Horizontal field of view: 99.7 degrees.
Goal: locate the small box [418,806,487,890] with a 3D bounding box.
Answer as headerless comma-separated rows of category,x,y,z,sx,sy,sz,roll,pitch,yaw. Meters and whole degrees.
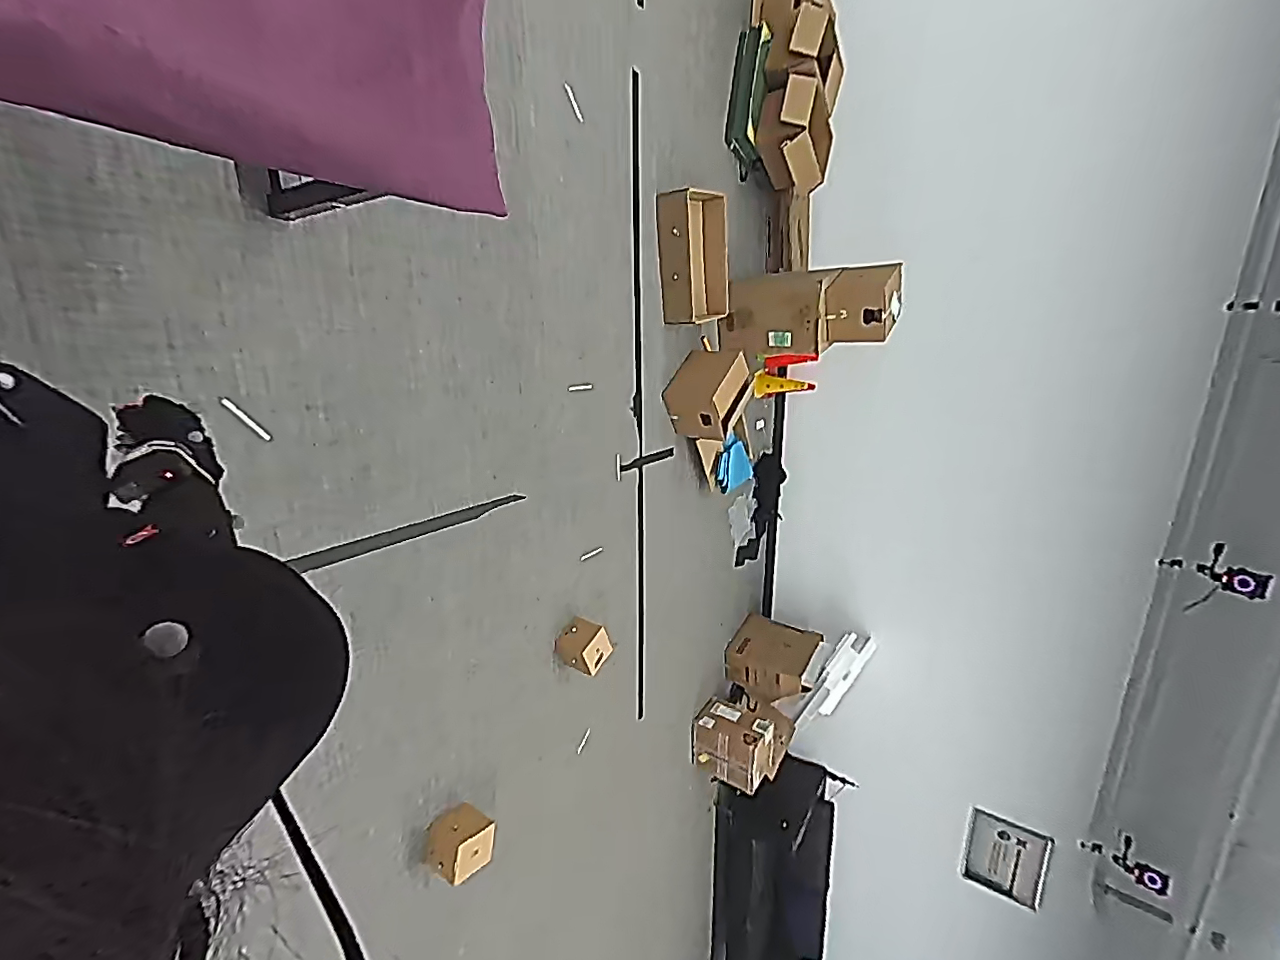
small box,-0.711,1.383,2.044,0.179,0.176,0.168,0,100,-58

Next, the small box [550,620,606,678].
small box,-0.289,0.781,2.515,0.168,0.176,0.179,-47,134,-40
